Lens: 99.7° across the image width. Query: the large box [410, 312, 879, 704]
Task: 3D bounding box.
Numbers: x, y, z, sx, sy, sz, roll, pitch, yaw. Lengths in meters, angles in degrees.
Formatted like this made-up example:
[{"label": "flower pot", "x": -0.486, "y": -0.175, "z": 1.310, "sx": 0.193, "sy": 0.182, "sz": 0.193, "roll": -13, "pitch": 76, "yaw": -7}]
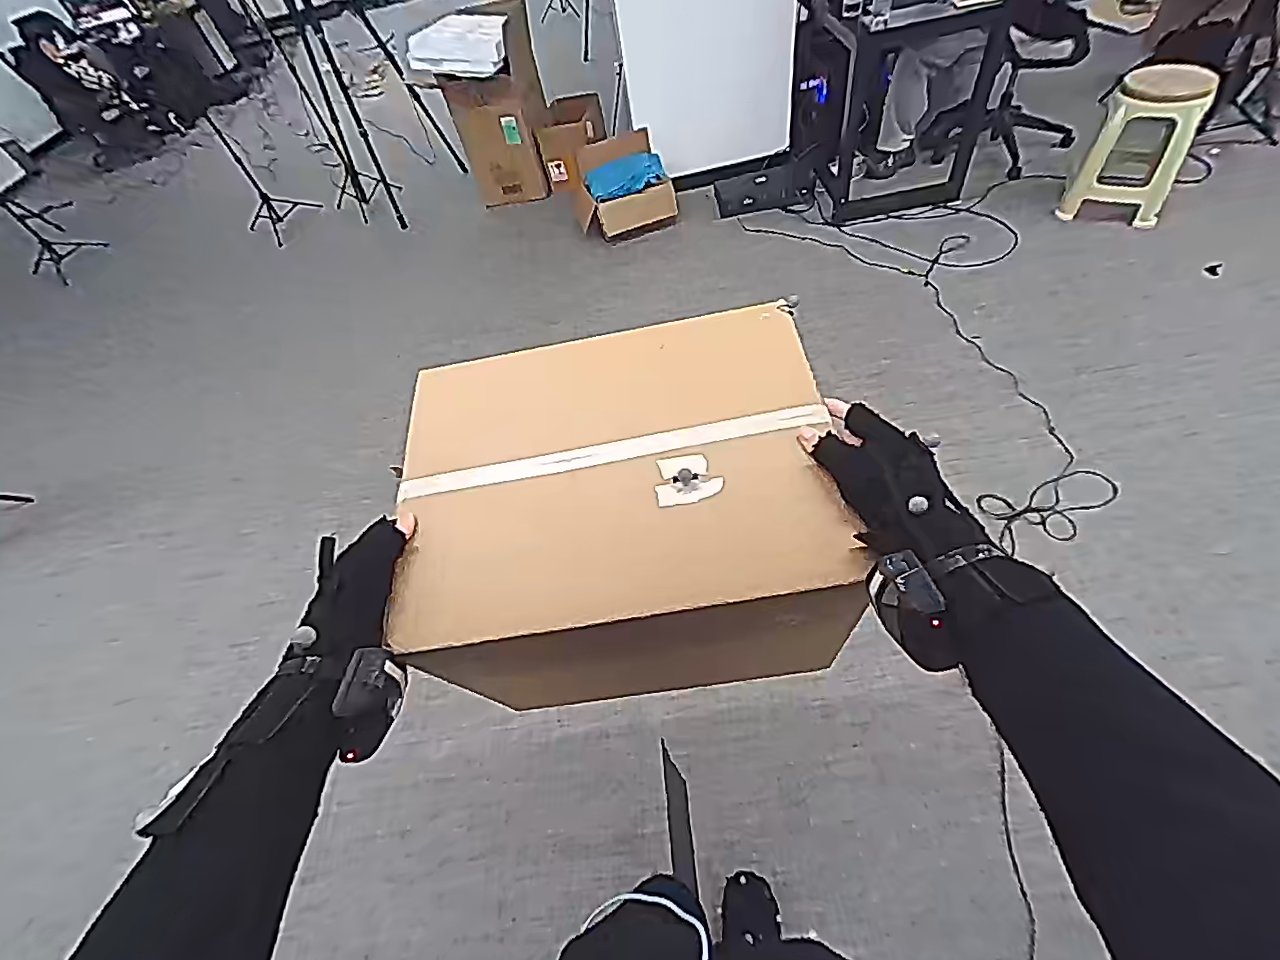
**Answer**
[{"label": "large box", "x": 0.001, "y": 0.054, "z": 0.647, "sx": 0.408, "sy": 0.320, "sz": 0.320, "roll": -10, "pitch": 58, "yaw": 4}]
